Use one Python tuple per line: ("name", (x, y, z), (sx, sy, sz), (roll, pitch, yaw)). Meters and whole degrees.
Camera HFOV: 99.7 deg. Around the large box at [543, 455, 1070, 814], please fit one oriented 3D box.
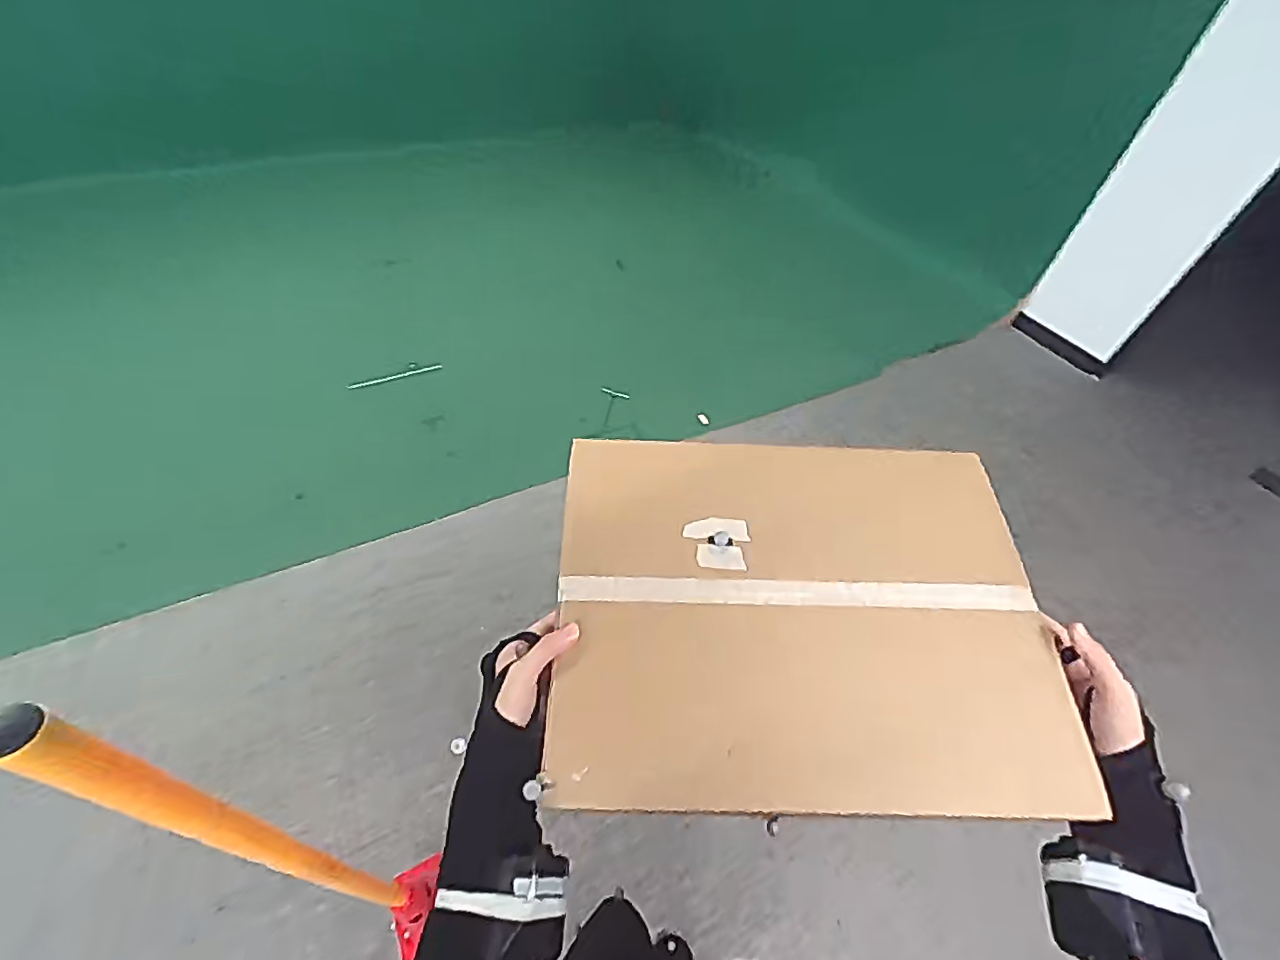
("large box", (0.125, 0.183, 0.602), (0.408, 0.320, 0.320), (1, 59, -1))
